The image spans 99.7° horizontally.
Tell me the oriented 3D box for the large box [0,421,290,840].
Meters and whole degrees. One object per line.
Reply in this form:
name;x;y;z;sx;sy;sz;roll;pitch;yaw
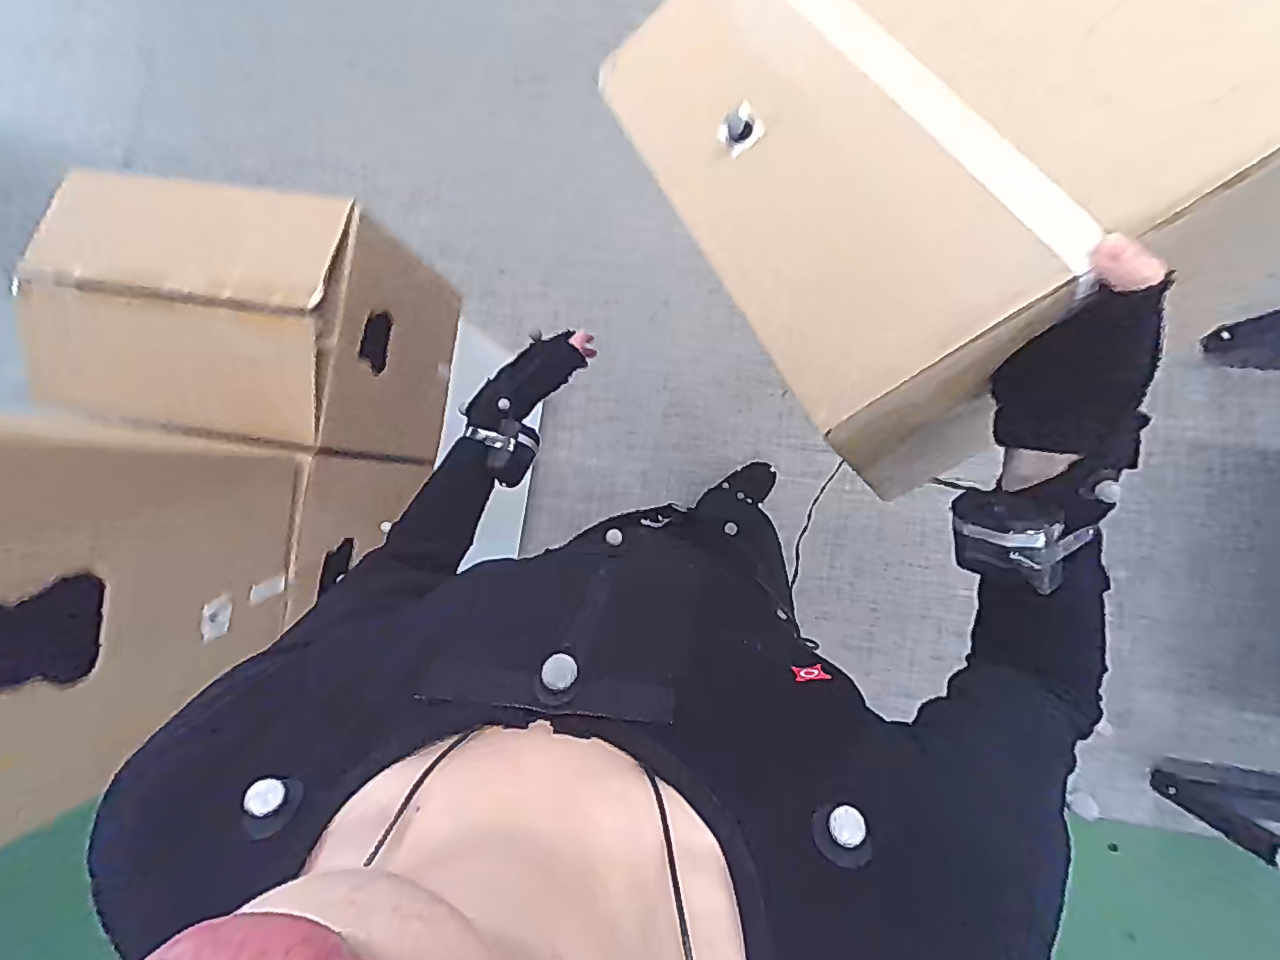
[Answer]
large box;-0.633;0.099;0.517;0.408;0.320;0.320;6;90;7
